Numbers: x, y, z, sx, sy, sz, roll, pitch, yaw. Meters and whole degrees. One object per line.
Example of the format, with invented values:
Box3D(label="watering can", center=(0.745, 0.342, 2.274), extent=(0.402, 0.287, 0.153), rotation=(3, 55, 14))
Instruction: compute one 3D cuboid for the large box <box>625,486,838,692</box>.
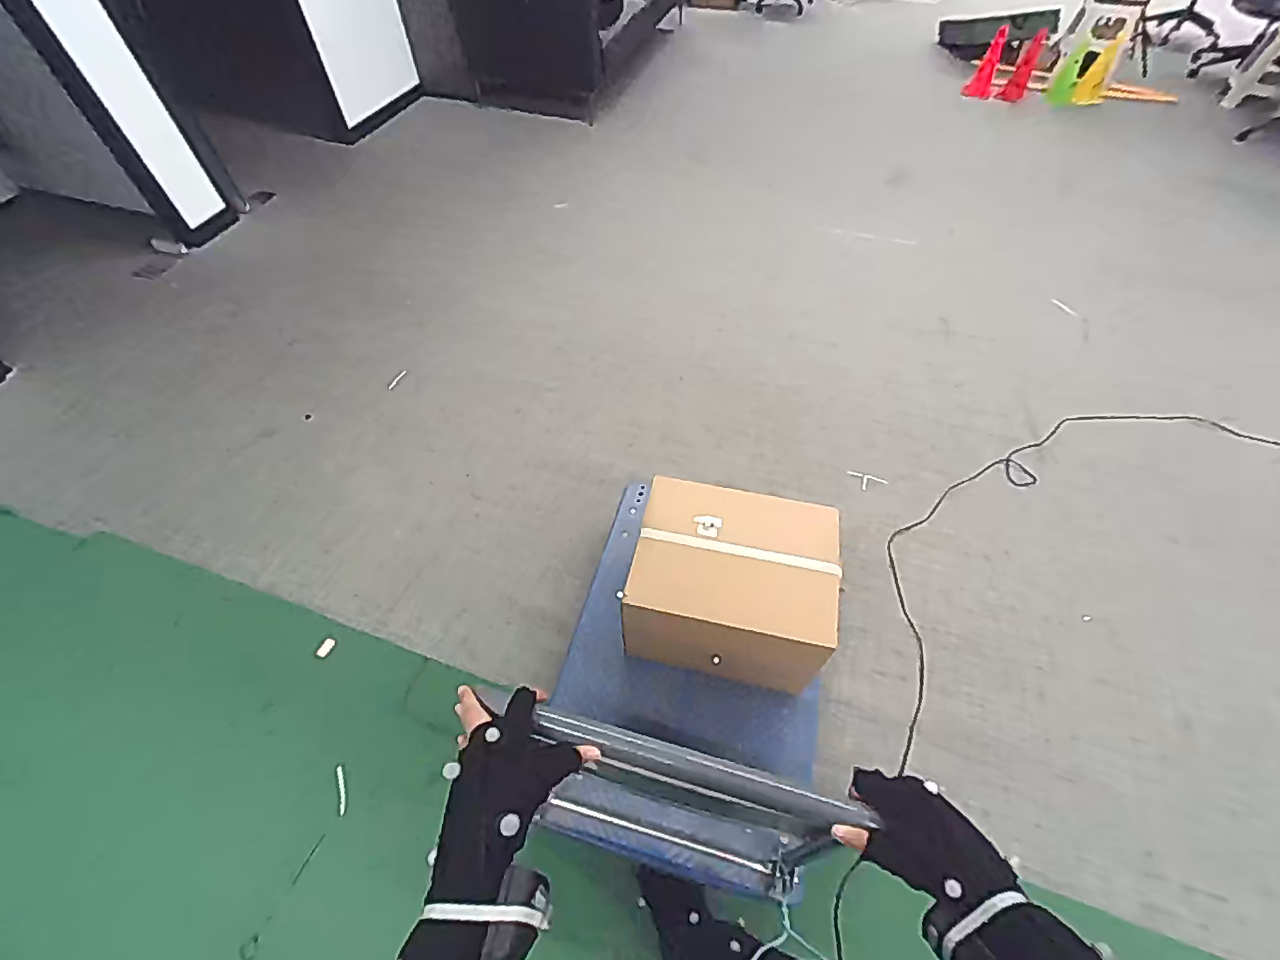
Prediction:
Box3D(label="large box", center=(0.200, 0.249, 1.213), extent=(0.408, 0.320, 0.320), rotation=(9, 53, 9))
